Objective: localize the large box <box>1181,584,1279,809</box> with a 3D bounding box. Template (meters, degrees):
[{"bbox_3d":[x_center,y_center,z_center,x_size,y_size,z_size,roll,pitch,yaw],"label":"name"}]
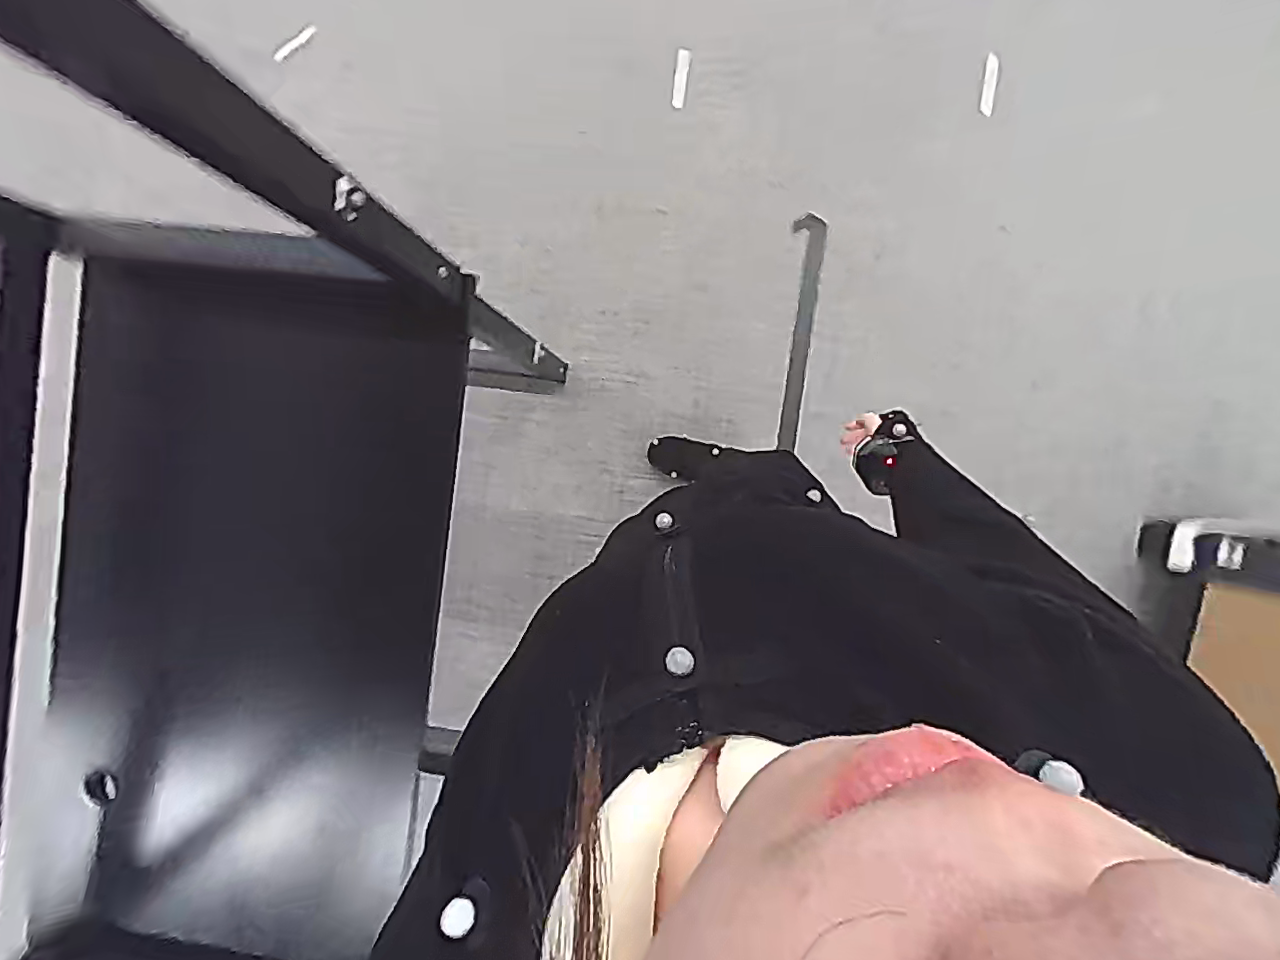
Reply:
[{"bbox_3d":[1.406,0.458,1.078,0.320,0.320,0.408,10,92,3],"label":"large box"}]
